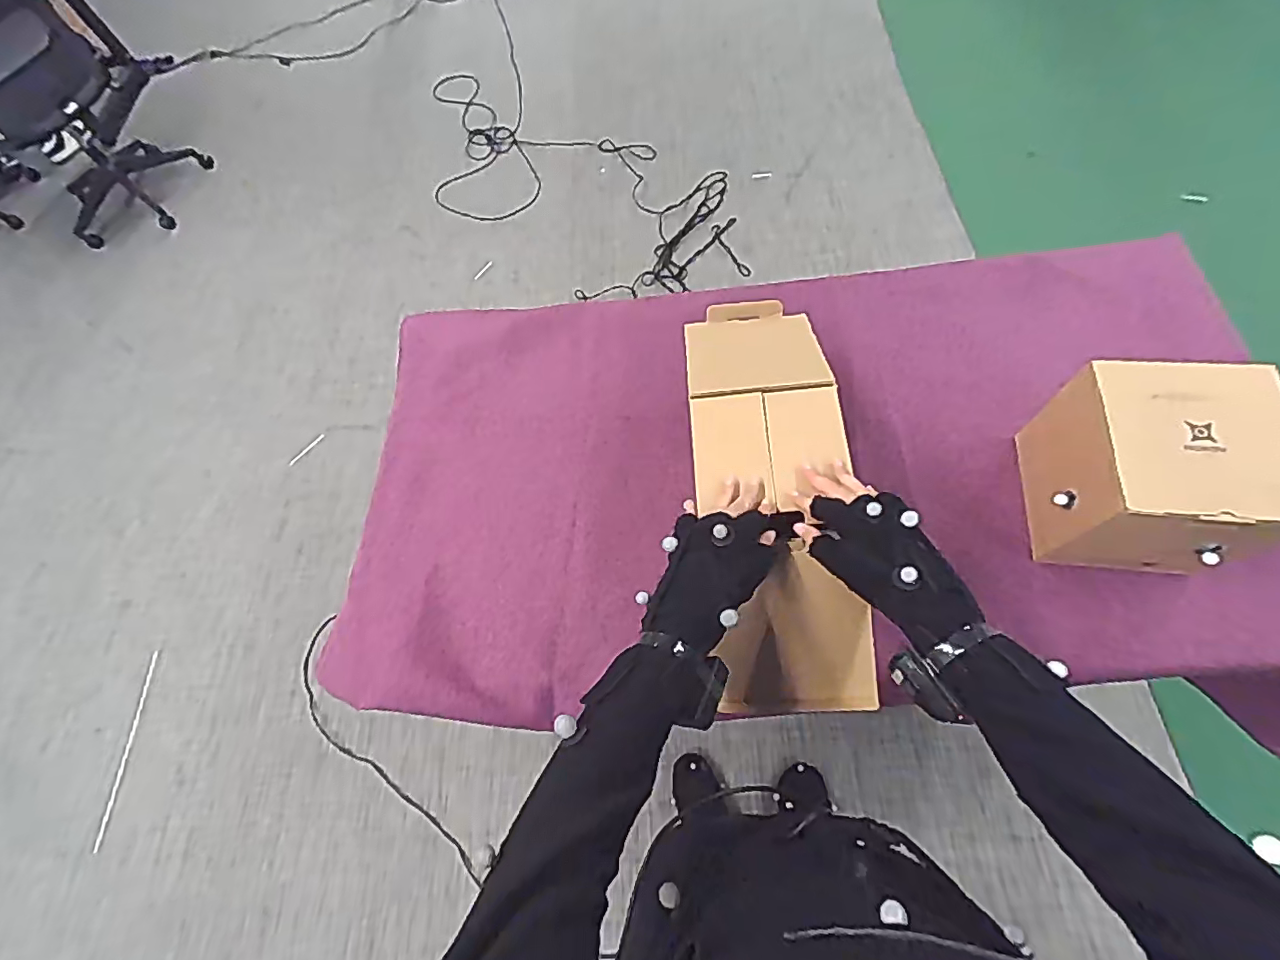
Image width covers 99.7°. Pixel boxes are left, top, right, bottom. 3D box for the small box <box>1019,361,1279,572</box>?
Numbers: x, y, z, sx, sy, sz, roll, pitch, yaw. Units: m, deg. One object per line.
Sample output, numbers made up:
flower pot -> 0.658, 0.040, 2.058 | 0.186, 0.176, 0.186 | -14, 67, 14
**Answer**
small box -> 0.552, -0.008, 0.592 | 0.168, 0.176, 0.179 | 5, 66, 11
